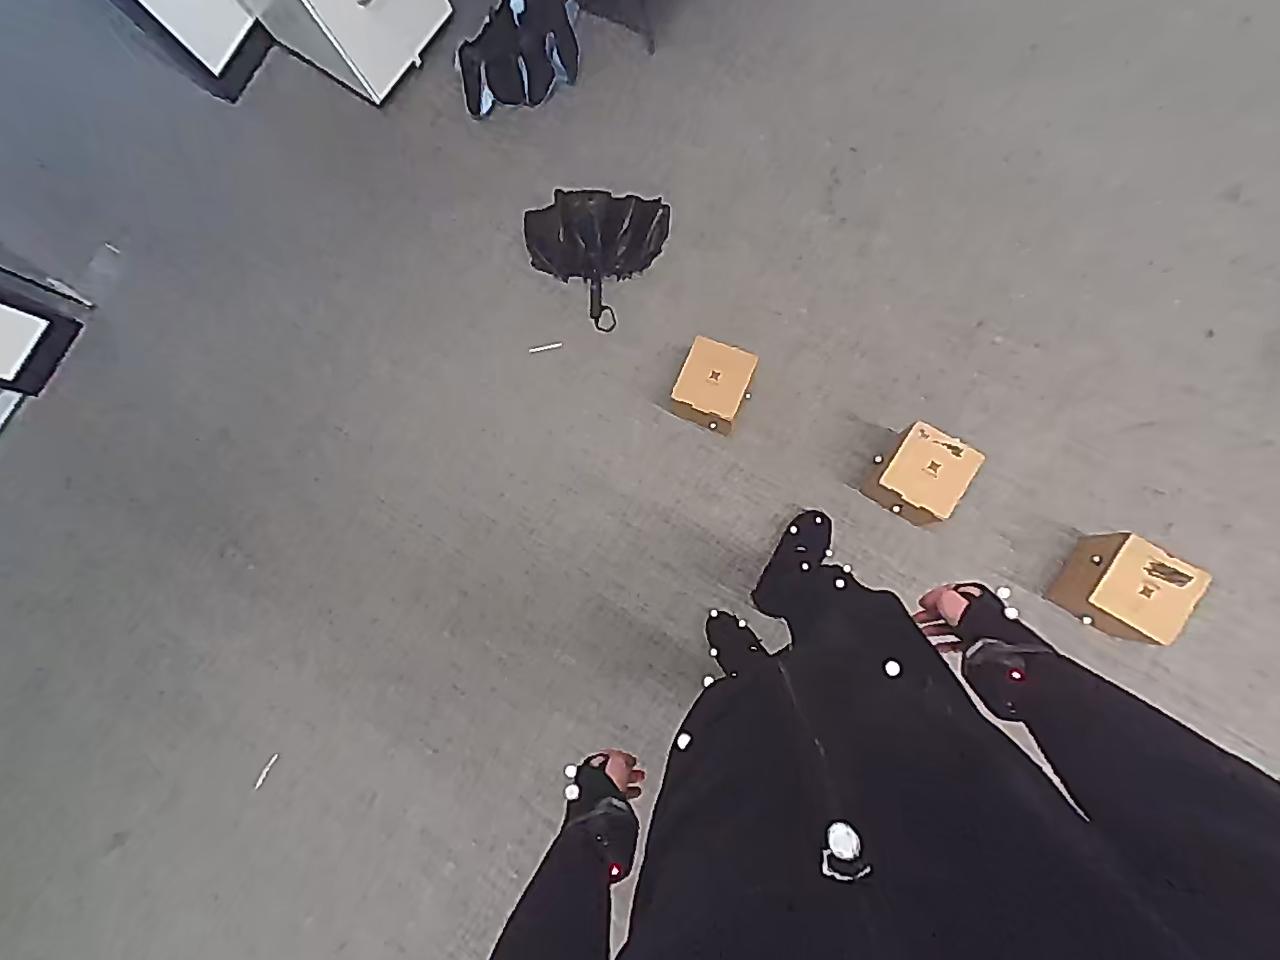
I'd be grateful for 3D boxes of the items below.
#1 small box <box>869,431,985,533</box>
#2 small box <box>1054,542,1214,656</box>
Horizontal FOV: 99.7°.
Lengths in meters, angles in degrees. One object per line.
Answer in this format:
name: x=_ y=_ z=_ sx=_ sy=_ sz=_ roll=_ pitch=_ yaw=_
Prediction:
small box: x=0.676 y=0.014 z=1.302 sx=0.168 sy=0.176 sz=0.179 roll=33 pitch=86 yaw=13
small box: x=1.072 y=0.257 z=1.192 sx=0.168 sy=0.176 sz=0.179 roll=33 pitch=88 yaw=14
